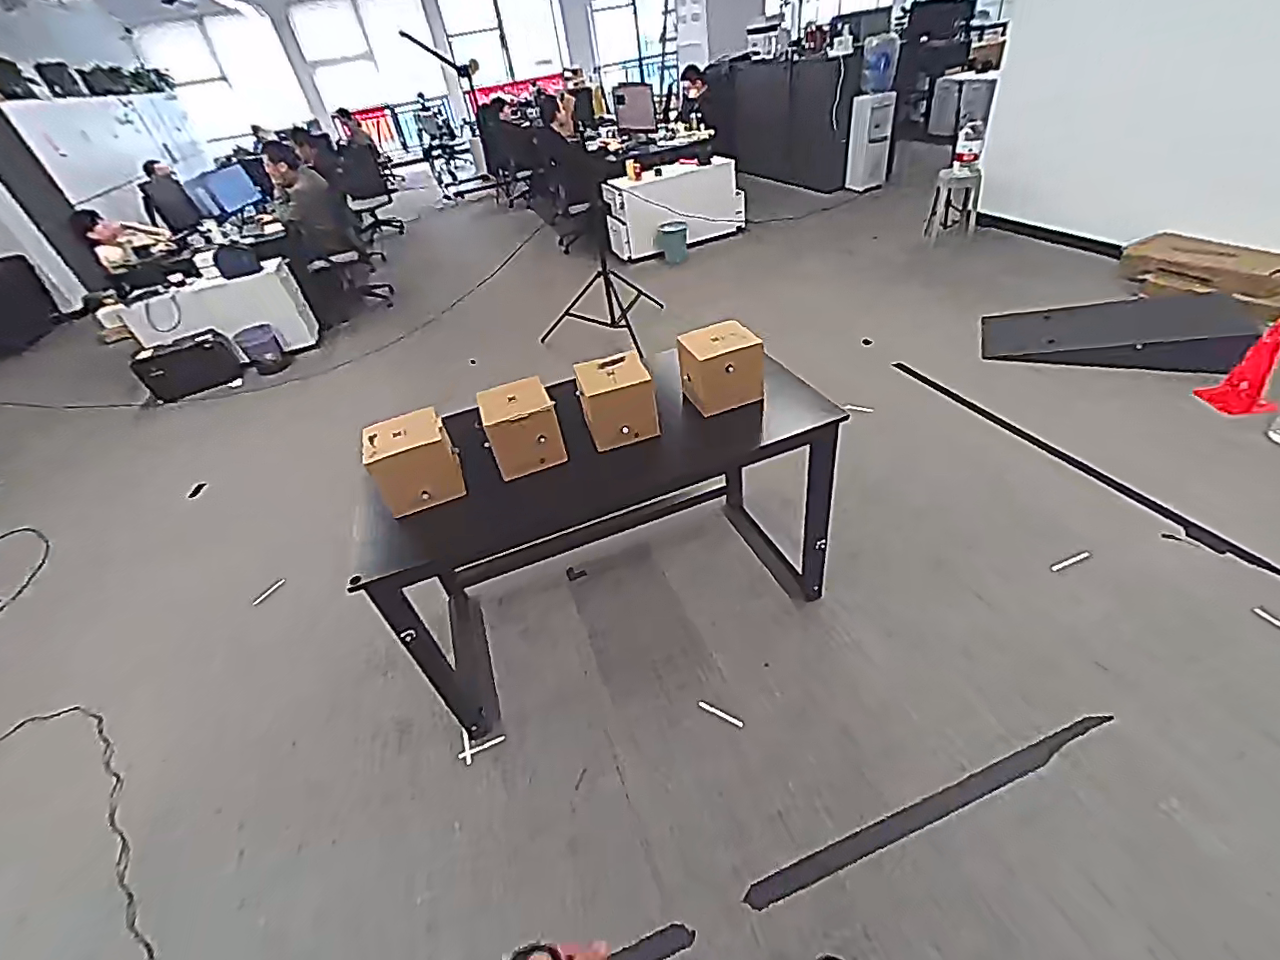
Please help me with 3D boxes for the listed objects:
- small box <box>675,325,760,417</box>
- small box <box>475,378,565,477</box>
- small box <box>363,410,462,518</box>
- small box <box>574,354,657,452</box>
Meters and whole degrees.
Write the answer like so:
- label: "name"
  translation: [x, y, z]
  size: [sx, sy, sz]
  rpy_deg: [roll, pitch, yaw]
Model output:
- label: "small box"
  translation: [0.210, -0.289, 1.443]
  size: [0.179, 0.176, 0.168]
  rpy_deg: [-18, 40, -9]
- label: "small box"
  translation: [-0.298, -0.125, 1.355]
  size: [0.168, 0.176, 0.179]
  rpy_deg: [-19, 39, -12]
- label: "small box"
  translation: [-0.540, -0.039, 1.297]
  size: [0.179, 0.176, 0.168]
  rpy_deg: [-19, 39, -13]
- label: "small box"
  translation: [-0.063, -0.198, 1.391]
  size: [0.168, 0.176, 0.179]
  rpy_deg: [-16, 40, -8]
